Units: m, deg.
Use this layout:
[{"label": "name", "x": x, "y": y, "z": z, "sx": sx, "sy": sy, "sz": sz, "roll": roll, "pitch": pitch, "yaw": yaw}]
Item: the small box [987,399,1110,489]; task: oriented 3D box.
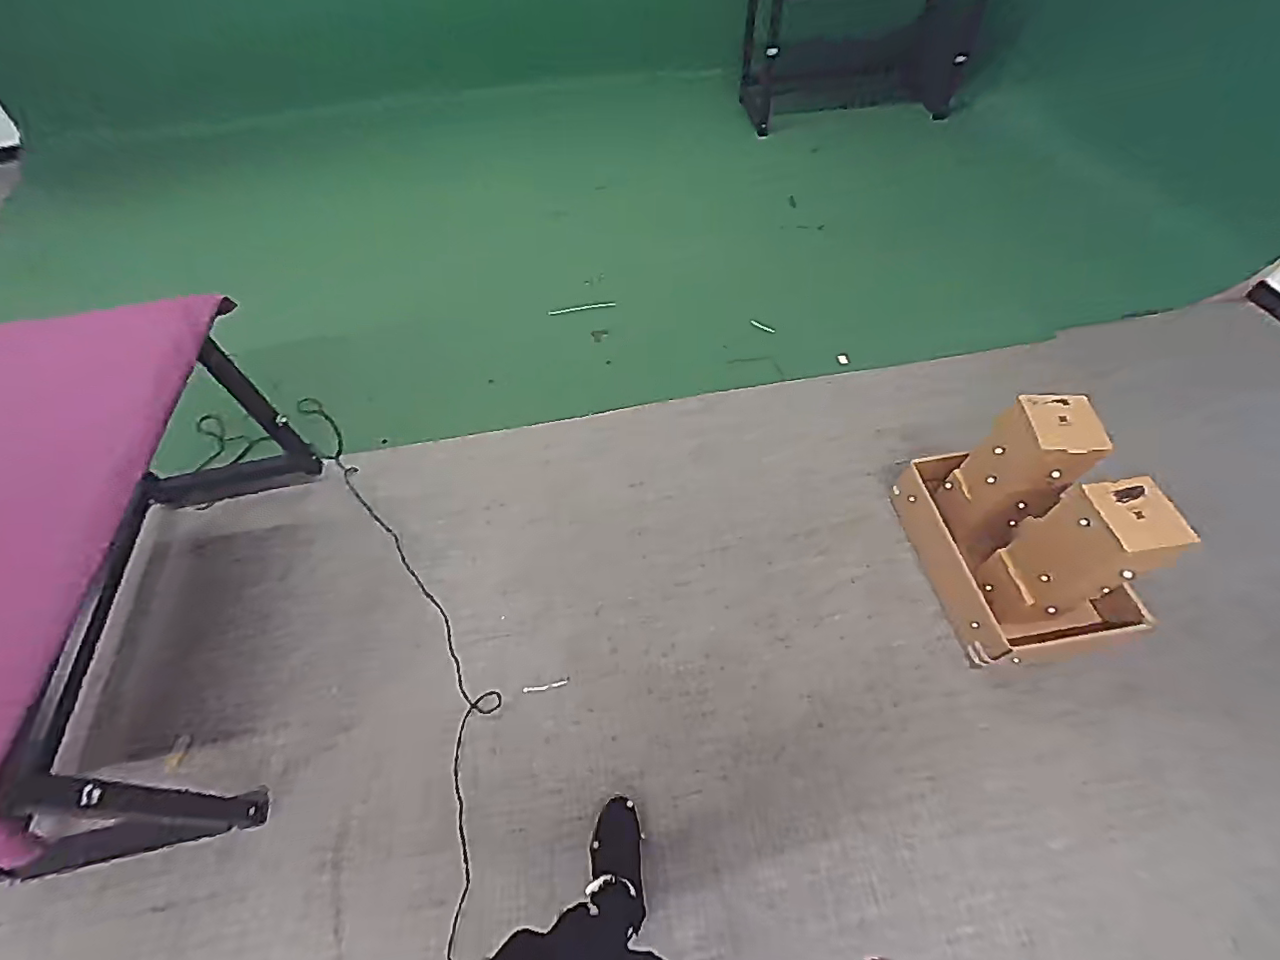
[{"label": "small box", "x": 1.039, "y": -0.089, "z": 1.393, "sx": 0.168, "sy": 0.176, "sz": 0.179, "roll": 2, "pitch": 58, "yaw": 3}]

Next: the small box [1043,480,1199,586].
[{"label": "small box", "x": 1.090, "y": 0.124, "z": 1.247, "sx": 0.168, "sy": 0.176, "sz": 0.179, "roll": -8, "pitch": 55, "yaw": -2}]
